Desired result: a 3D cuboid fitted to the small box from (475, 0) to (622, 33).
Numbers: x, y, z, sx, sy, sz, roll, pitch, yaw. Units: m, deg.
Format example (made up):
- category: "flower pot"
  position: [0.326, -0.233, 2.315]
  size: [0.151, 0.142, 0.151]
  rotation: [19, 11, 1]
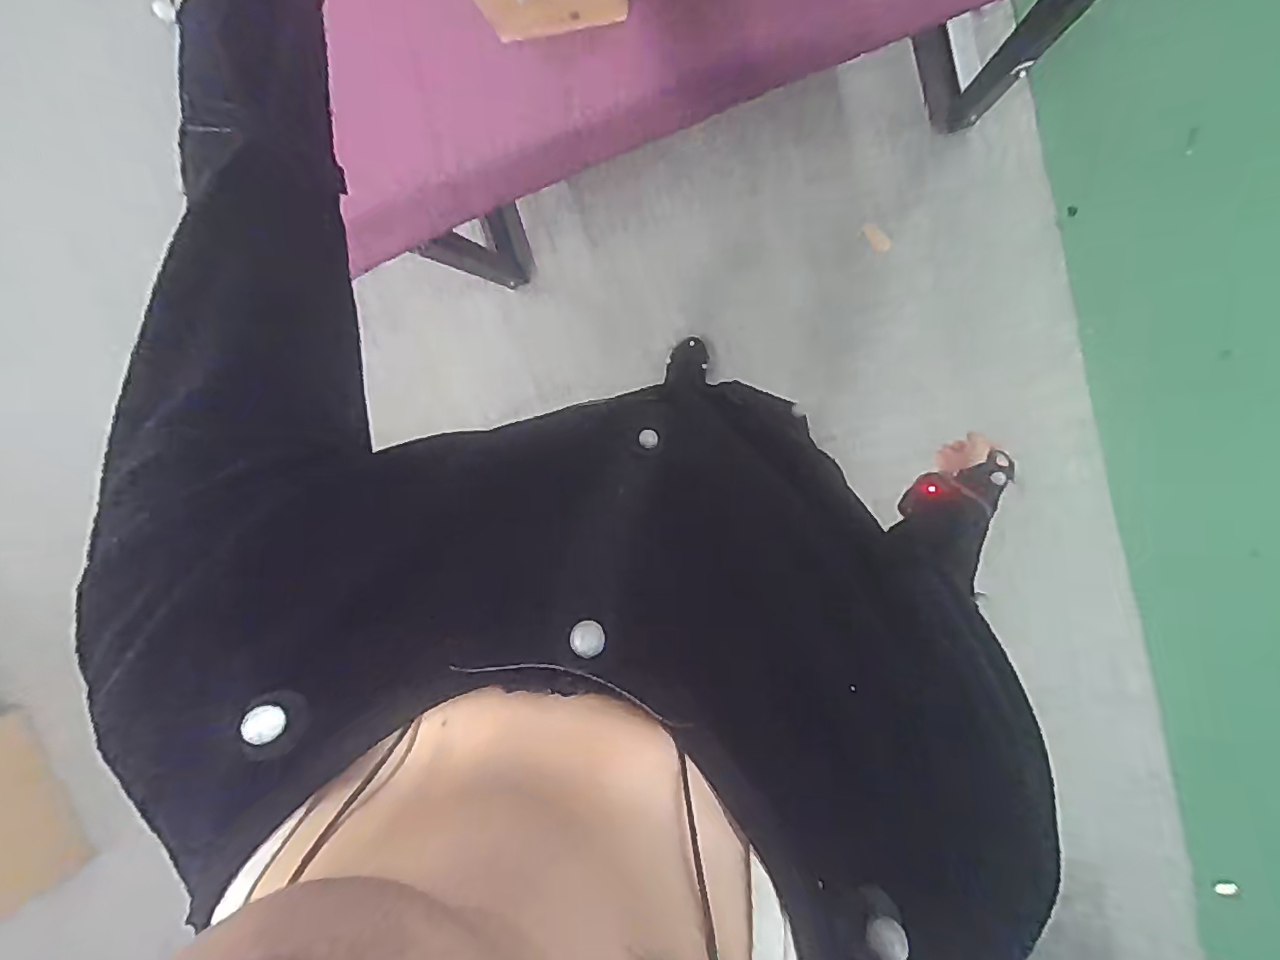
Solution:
- category: "small box"
  position: [-0.118, -0.630, 0.585]
  size: [0.168, 0.176, 0.179]
  rotation: [-2, 100, 10]
